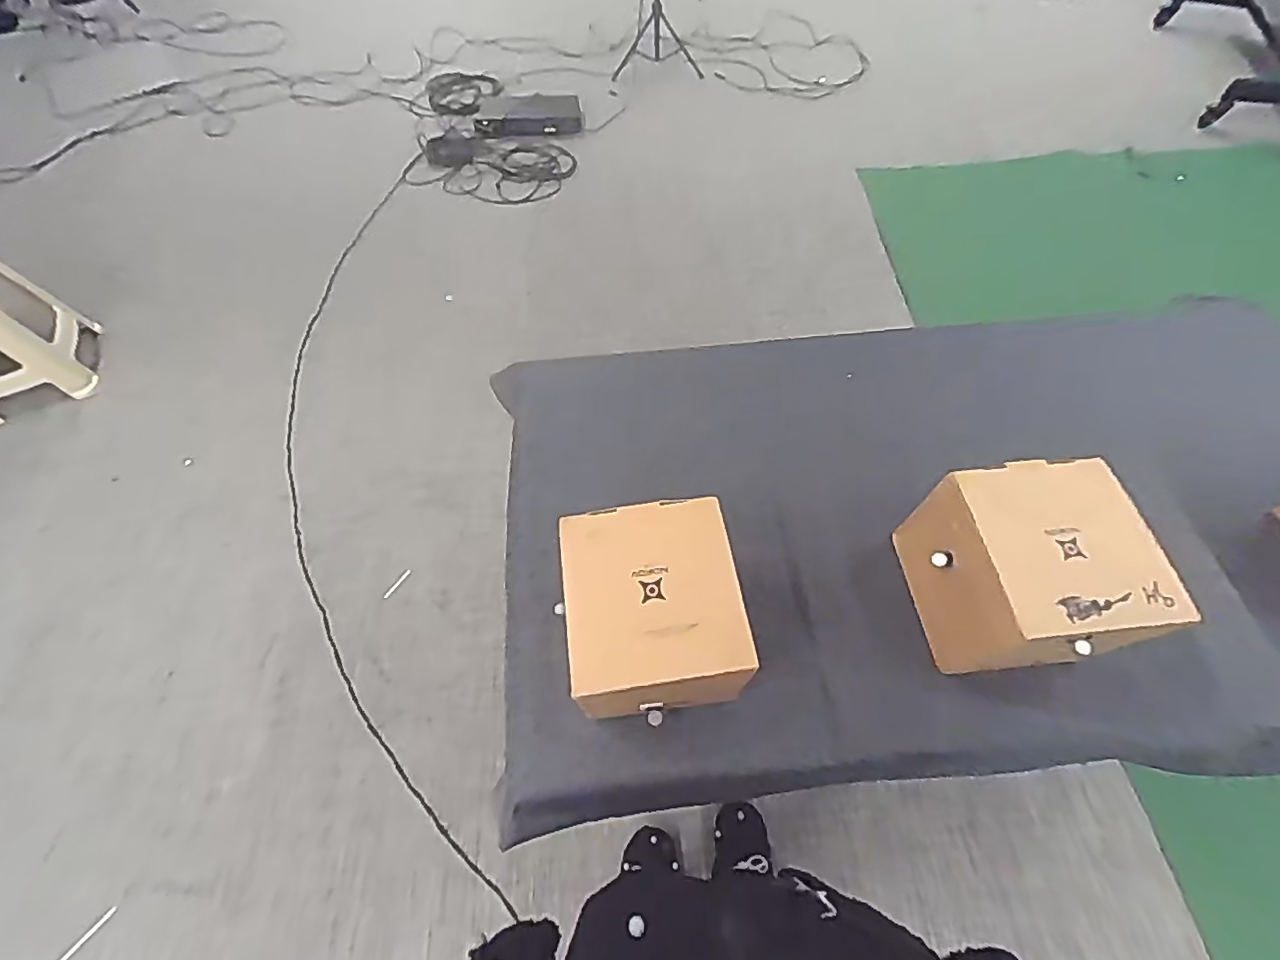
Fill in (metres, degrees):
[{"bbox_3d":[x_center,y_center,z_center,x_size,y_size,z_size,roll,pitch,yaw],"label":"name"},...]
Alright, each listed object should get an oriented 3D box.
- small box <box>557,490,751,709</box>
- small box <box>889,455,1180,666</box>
[{"bbox_3d":[0.008,0.134,0.584,0.168,0.176,0.179,-9,61,-3],"label":"small box"},{"bbox_3d":[0.406,0.094,0.601,0.168,0.176,0.179,-5,60,-1],"label":"small box"}]
